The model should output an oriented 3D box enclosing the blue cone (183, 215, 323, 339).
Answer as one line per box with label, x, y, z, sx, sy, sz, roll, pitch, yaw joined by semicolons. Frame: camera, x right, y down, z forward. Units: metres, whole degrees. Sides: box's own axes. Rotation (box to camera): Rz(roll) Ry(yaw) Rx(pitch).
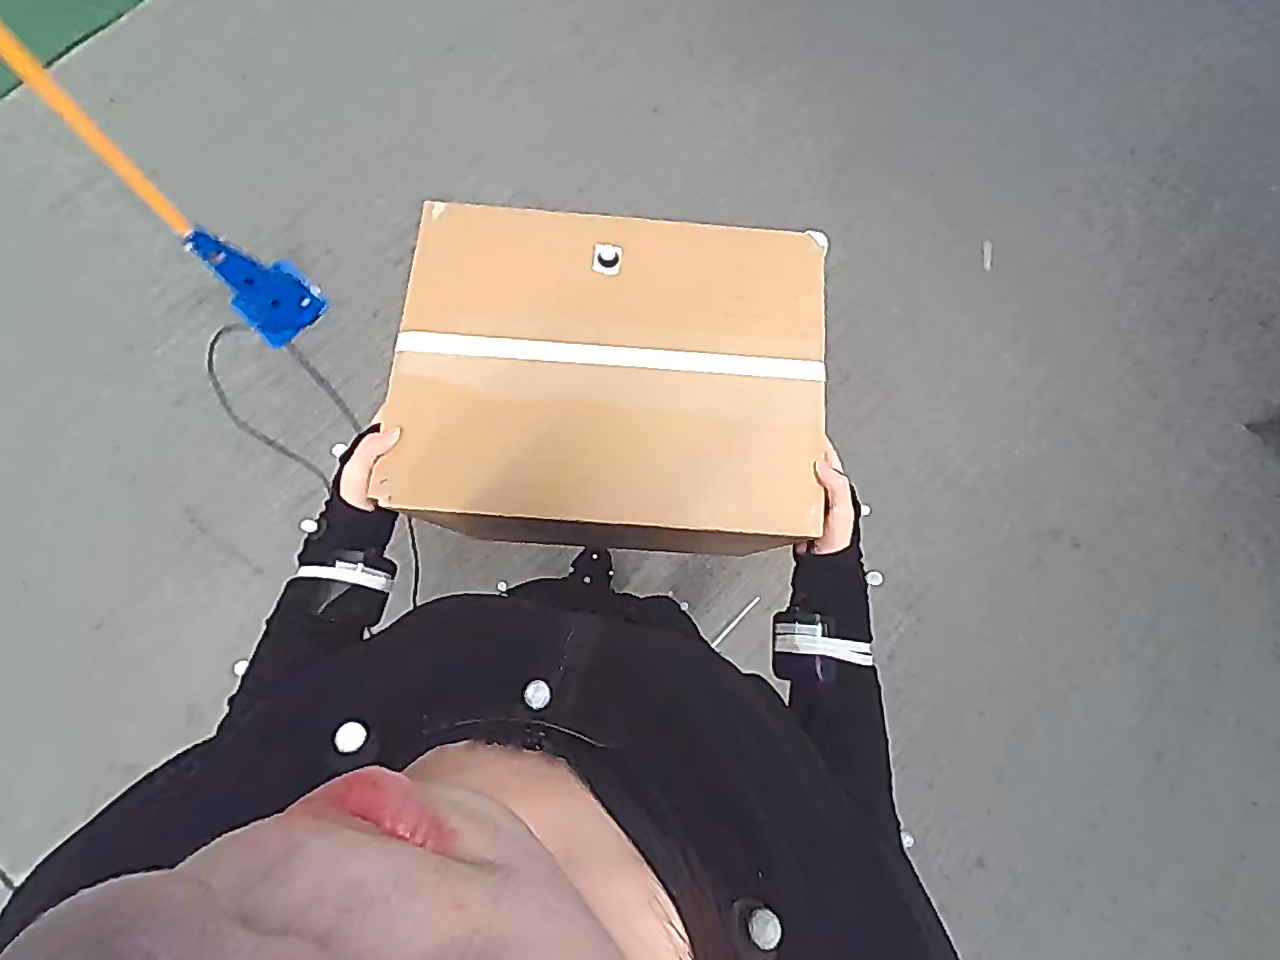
blue cone;-0.984;-0.530;1.333;0.192;0.380;0.193;44;80;1
